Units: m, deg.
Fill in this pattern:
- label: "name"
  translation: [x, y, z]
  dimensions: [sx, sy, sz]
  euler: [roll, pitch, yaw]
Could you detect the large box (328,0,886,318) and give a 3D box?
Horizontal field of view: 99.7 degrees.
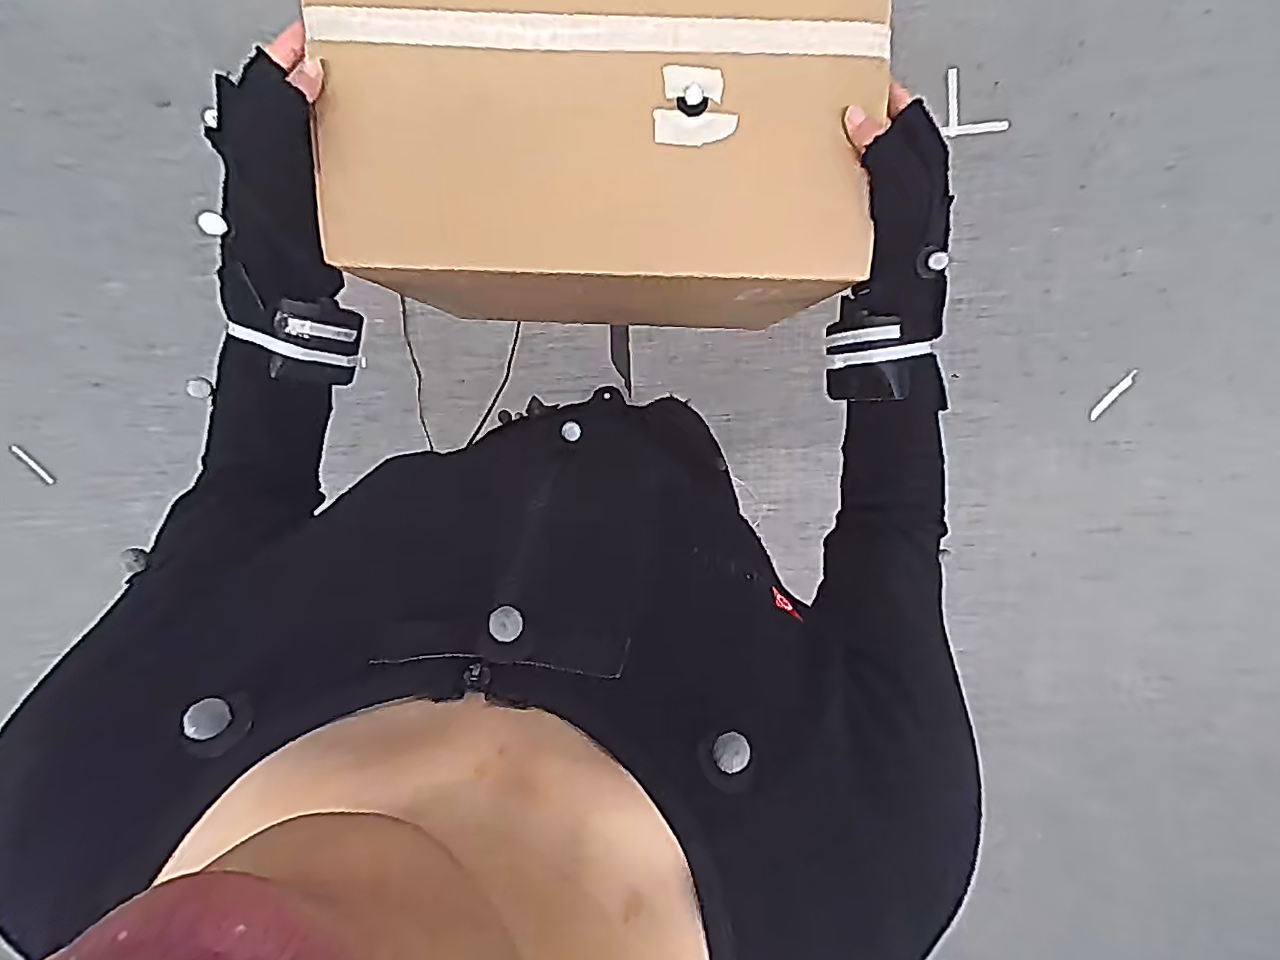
- label: "large box"
  translation: [-0.027, -0.341, 0.533]
  dimensions: [0.408, 0.320, 0.320]
  euler: [1, 99, -1]
